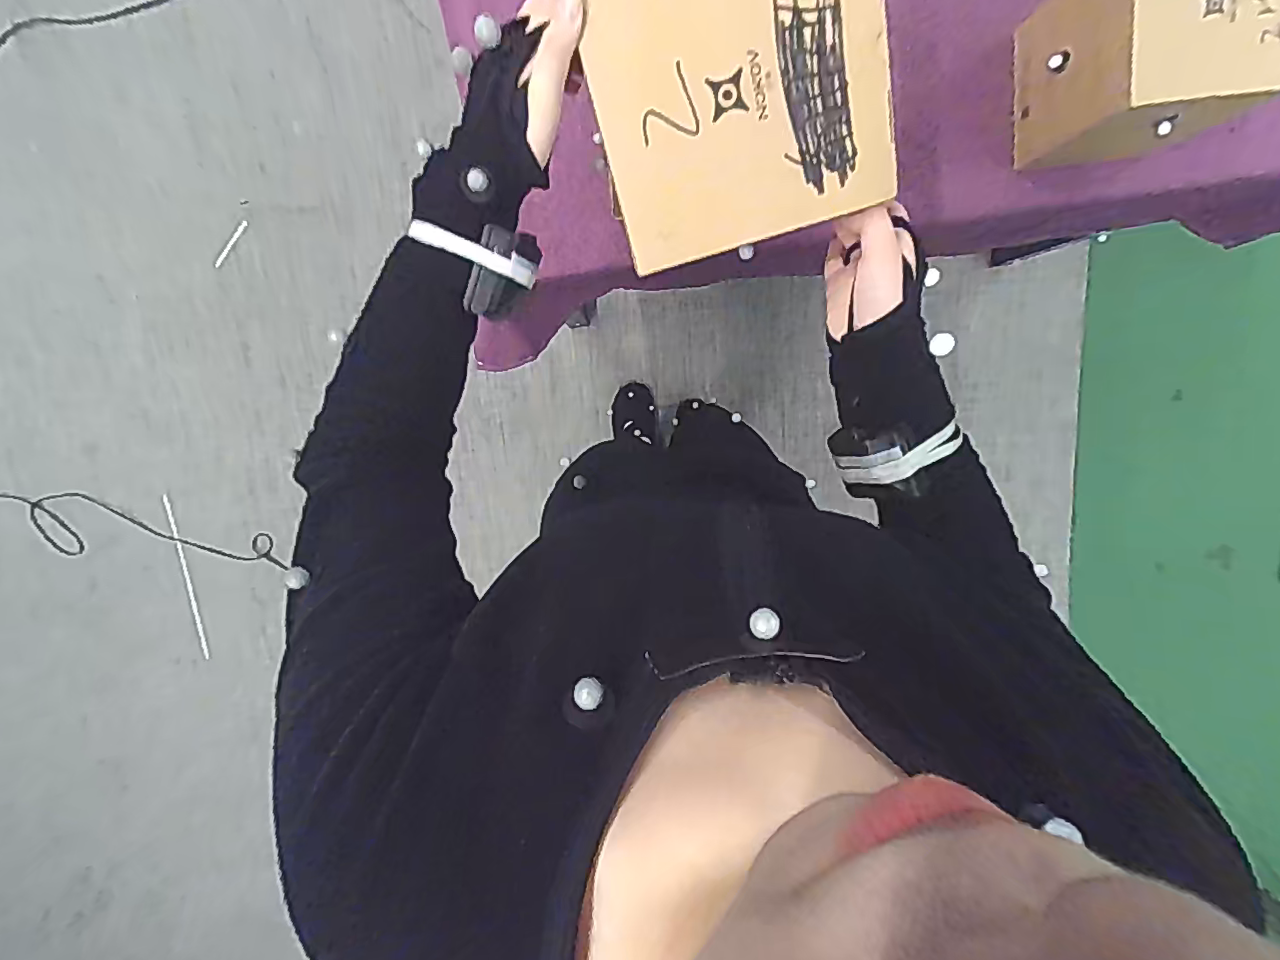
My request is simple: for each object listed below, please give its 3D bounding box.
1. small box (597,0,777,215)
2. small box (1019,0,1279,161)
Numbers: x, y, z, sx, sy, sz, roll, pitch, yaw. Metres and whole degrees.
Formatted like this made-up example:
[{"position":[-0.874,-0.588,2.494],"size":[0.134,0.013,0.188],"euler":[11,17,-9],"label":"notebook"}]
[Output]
[{"position":[0.043,-0.418,0.599],"size":[0.168,0.176,0.179],"euler":[-7,101,-1],"label":"small box"},{"position":[0.561,-0.480,0.601],"size":[0.179,0.176,0.168],"euler":[-7,101,-1],"label":"small box"}]
